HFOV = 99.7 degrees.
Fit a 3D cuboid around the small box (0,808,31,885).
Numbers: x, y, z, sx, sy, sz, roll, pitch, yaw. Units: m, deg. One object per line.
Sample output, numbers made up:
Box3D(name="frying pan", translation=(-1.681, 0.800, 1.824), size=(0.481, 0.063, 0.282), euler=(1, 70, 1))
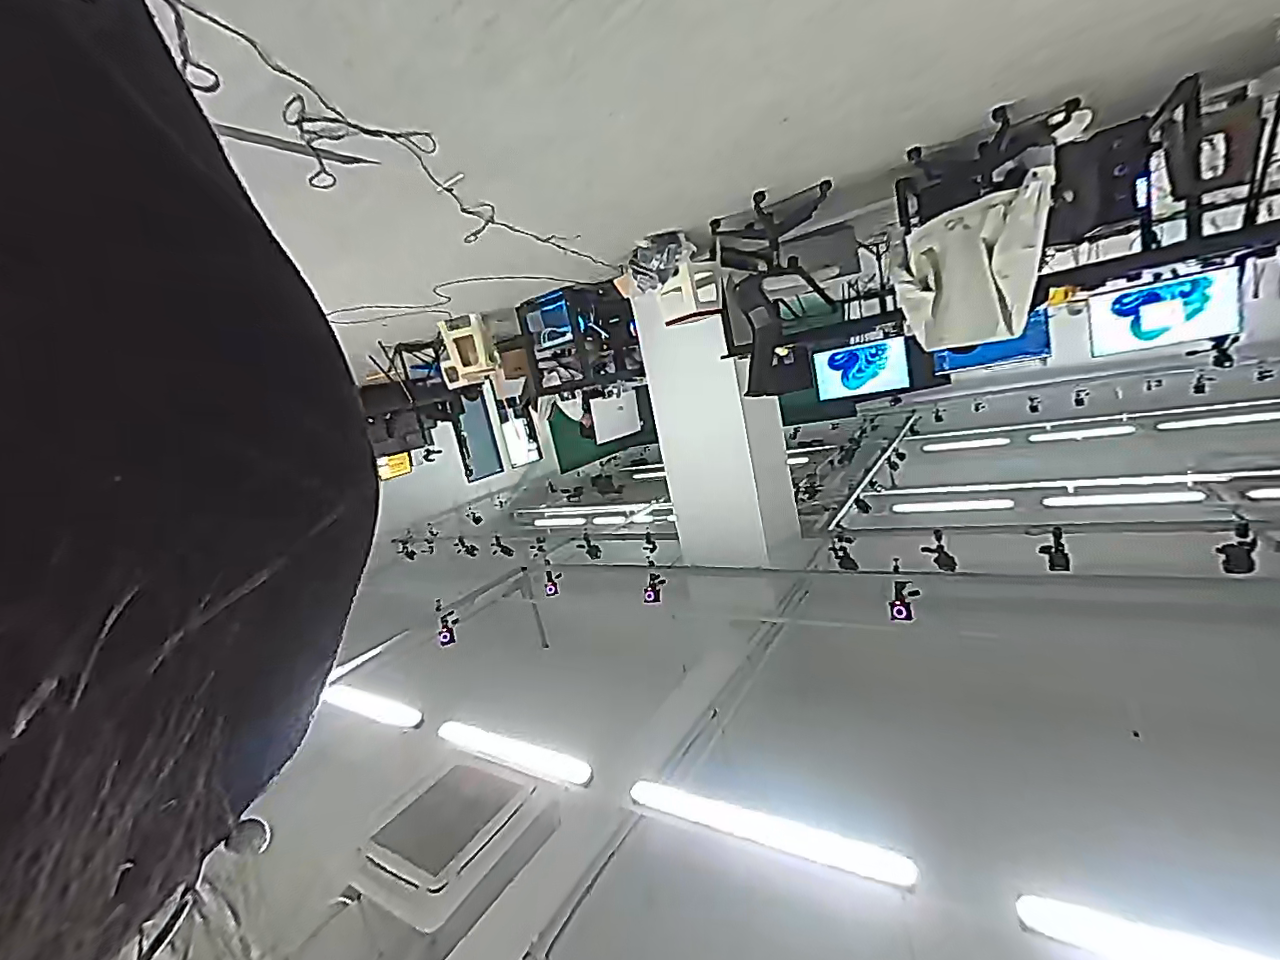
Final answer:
Box3D(name="small box", translation=(-1.687, 0.936, 1.346), size=(0.179, 0.176, 0.168), euler=(-3, -165, 33))
